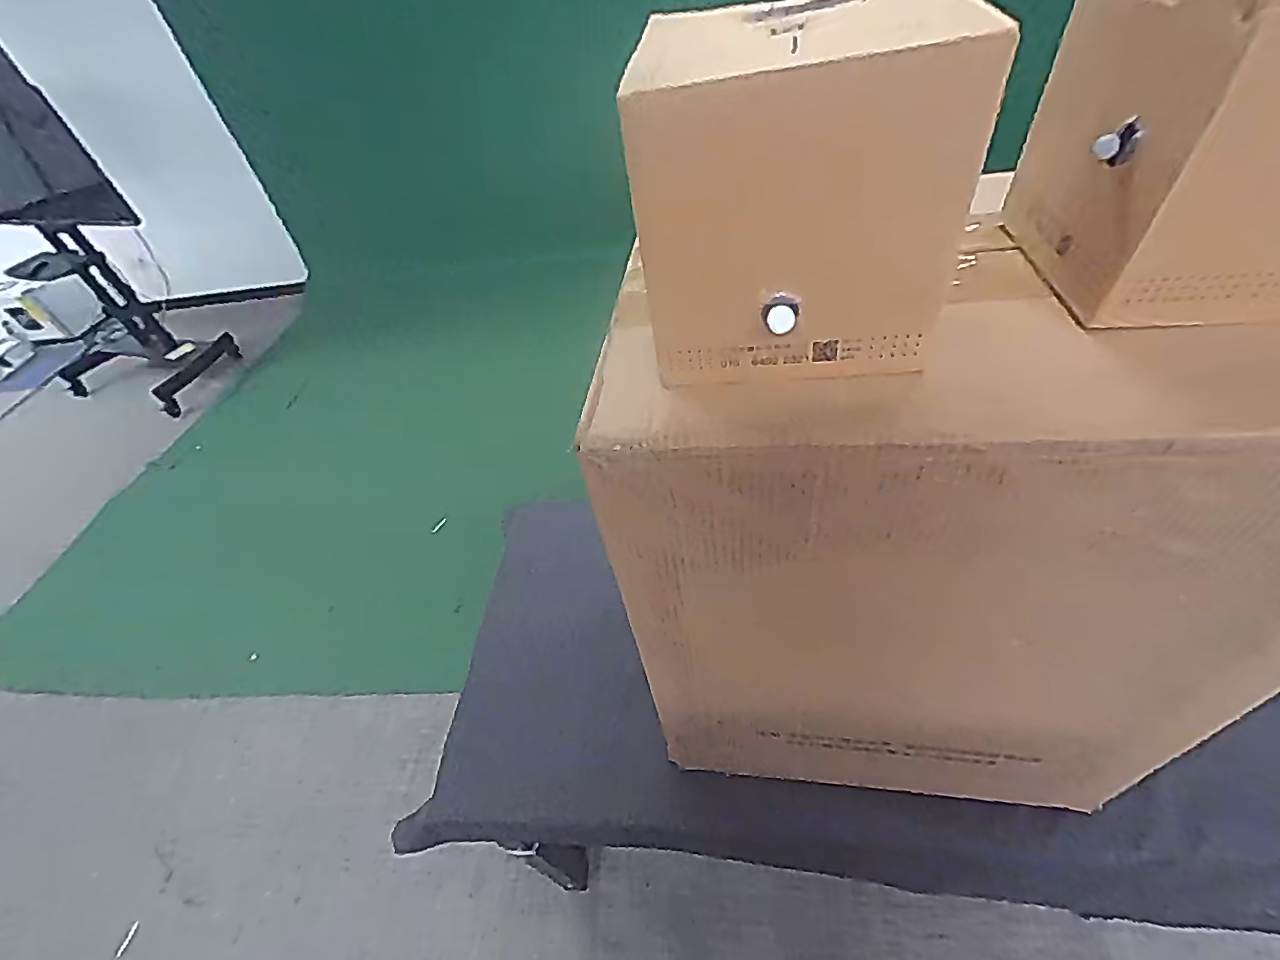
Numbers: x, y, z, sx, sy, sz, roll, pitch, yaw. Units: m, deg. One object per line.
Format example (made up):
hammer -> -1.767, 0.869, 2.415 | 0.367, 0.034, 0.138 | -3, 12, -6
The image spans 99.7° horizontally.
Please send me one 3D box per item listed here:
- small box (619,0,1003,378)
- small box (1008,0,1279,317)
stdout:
small box -> 0.091, -0.186, 0.349 | 0.168, 0.176, 0.179 | -1, 48, 11
small box -> 0.354, -0.210, 0.320 | 0.179, 0.176, 0.168 | 1, 49, 9
